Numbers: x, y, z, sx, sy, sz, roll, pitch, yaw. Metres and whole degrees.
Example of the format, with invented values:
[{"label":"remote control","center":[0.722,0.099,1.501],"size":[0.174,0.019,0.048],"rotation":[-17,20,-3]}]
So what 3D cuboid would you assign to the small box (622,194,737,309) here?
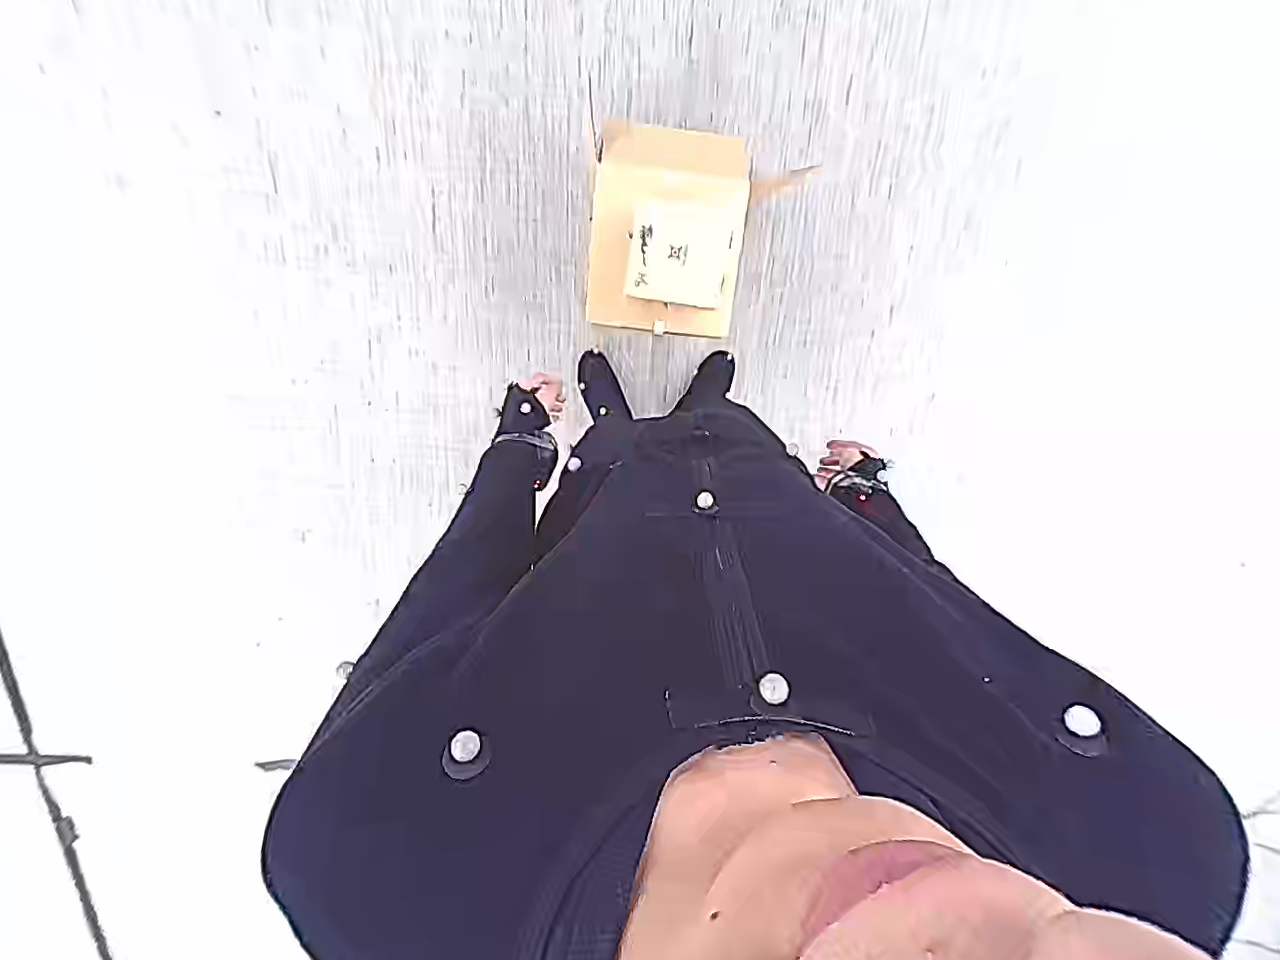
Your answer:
[{"label":"small box","center":[0.065,-0.424,1.024],"size":[0.179,0.176,0.168],"rotation":[8,107,-6]}]
